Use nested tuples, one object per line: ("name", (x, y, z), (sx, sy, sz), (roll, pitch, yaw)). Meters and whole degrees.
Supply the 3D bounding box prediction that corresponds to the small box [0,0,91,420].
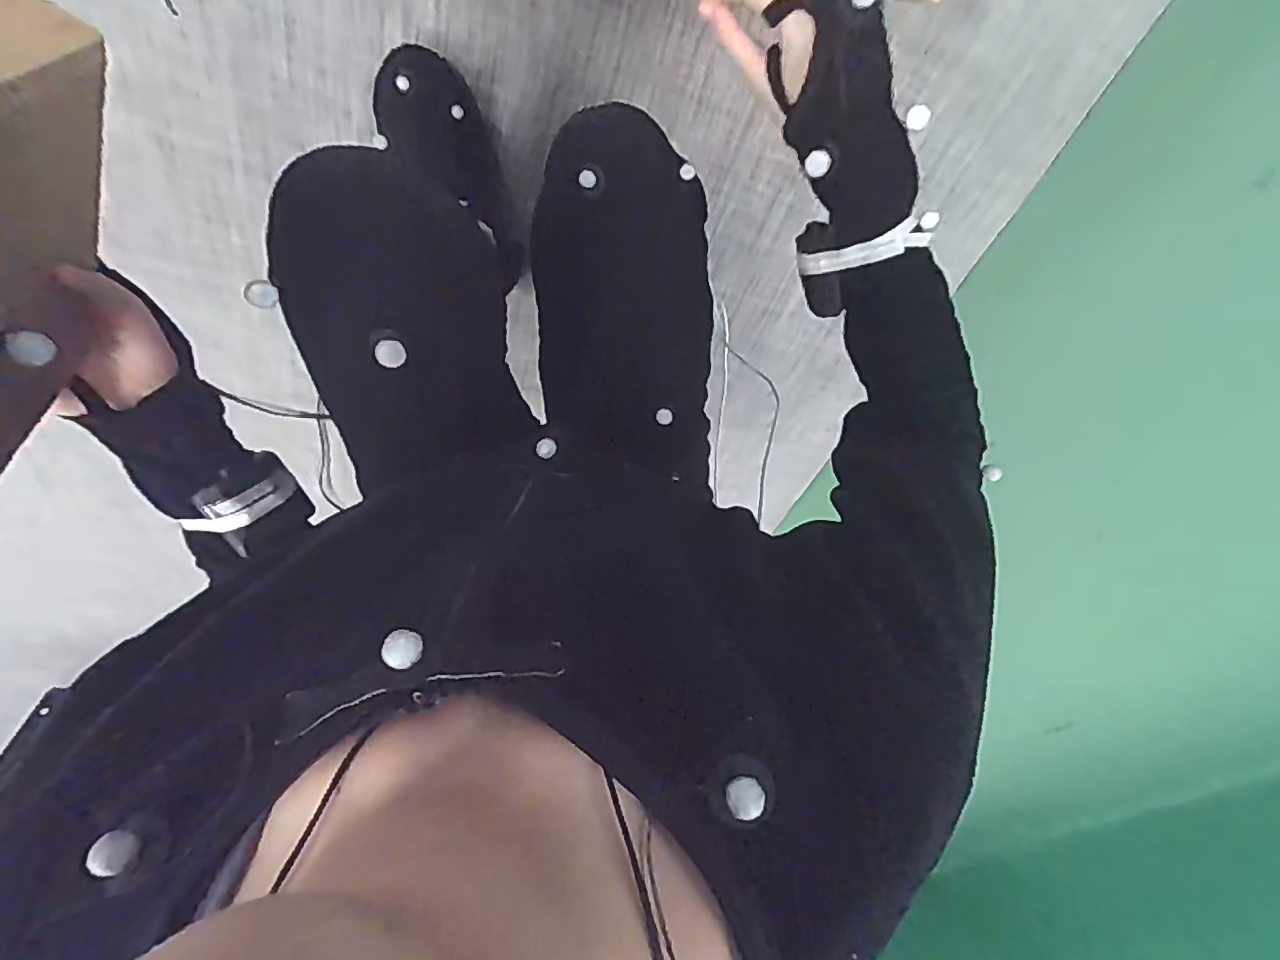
("small box", (-0.314, -0.099, 0.167), (0.168, 0.176, 0.179), (16, 127, -36))
